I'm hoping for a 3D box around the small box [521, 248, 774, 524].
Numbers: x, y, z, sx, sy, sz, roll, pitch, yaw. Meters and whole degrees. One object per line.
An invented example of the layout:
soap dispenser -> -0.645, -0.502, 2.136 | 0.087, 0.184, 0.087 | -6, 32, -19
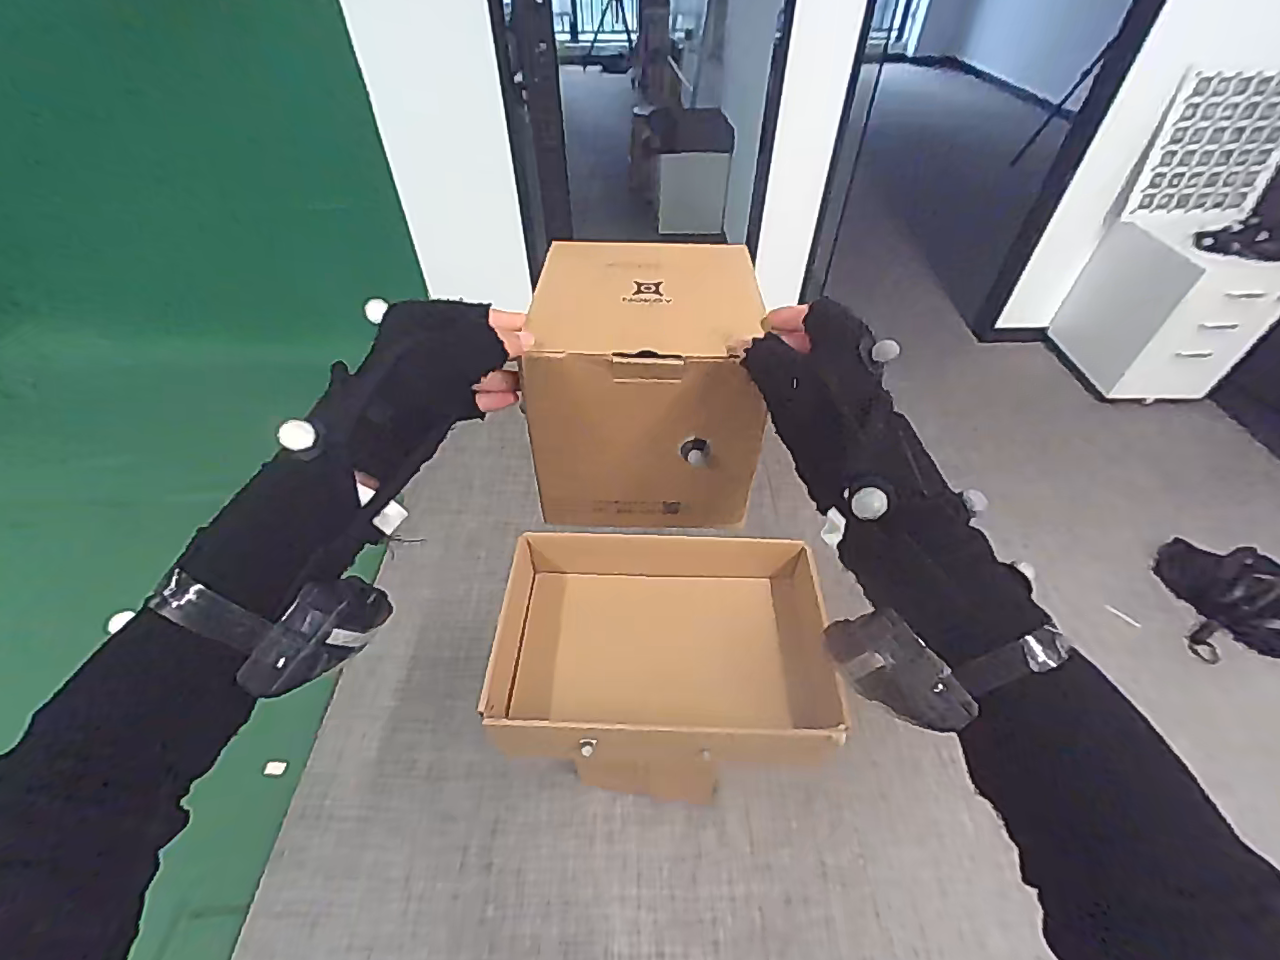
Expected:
small box -> 0.006, -0.077, 0.455 | 0.168, 0.176, 0.179 | 1, 44, -1
